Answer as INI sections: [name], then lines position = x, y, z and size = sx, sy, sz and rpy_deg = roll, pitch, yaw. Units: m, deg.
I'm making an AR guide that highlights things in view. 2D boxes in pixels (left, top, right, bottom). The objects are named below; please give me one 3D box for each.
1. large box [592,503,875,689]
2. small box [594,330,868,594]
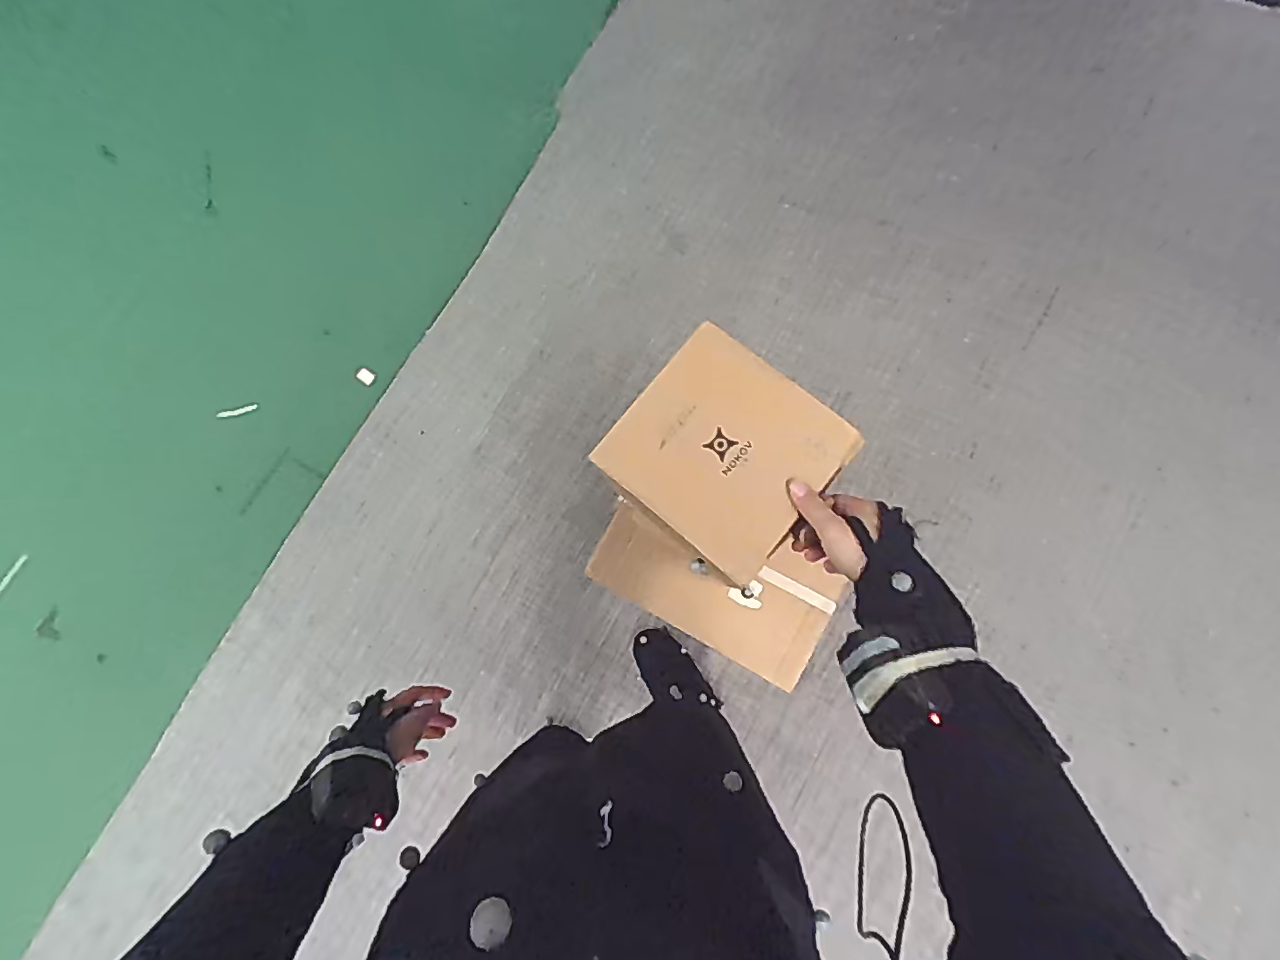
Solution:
[large box]
position = 0.171, 0.151, 1.080
size = 0.408, 0.320, 0.320
rpy_deg = 28, 85, 10
[small box]
position = 0.084, -0.007, 0.538
size = 0.179, 0.176, 0.168
rpy_deg = 39, 85, 12
